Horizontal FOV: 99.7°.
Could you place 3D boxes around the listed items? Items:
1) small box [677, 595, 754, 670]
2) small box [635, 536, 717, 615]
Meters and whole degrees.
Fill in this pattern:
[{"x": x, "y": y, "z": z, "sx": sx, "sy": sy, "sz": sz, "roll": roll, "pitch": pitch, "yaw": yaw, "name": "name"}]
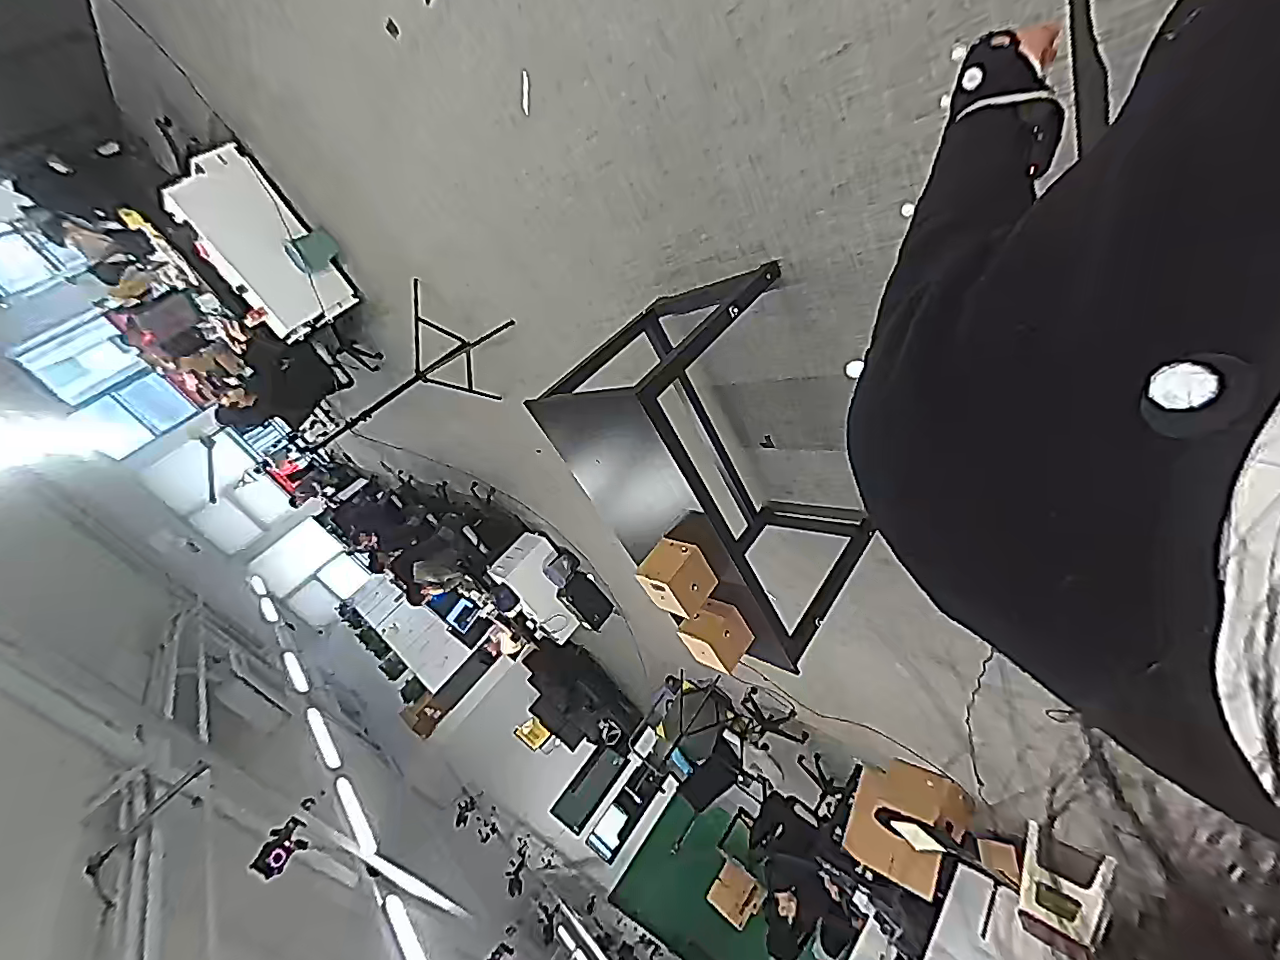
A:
[{"x": 0.270, "y": 0.530, "z": 1.908, "sx": 0.168, "sy": 0.176, "sz": 0.179, "roll": 5, "pitch": 136, "yaw": 53, "name": "small box"}, {"x": 0.123, "y": 0.308, "z": 1.779, "sx": 0.168, "sy": 0.176, "sz": 0.179, "roll": 8, "pitch": 138, "yaw": 50, "name": "small box"}]
